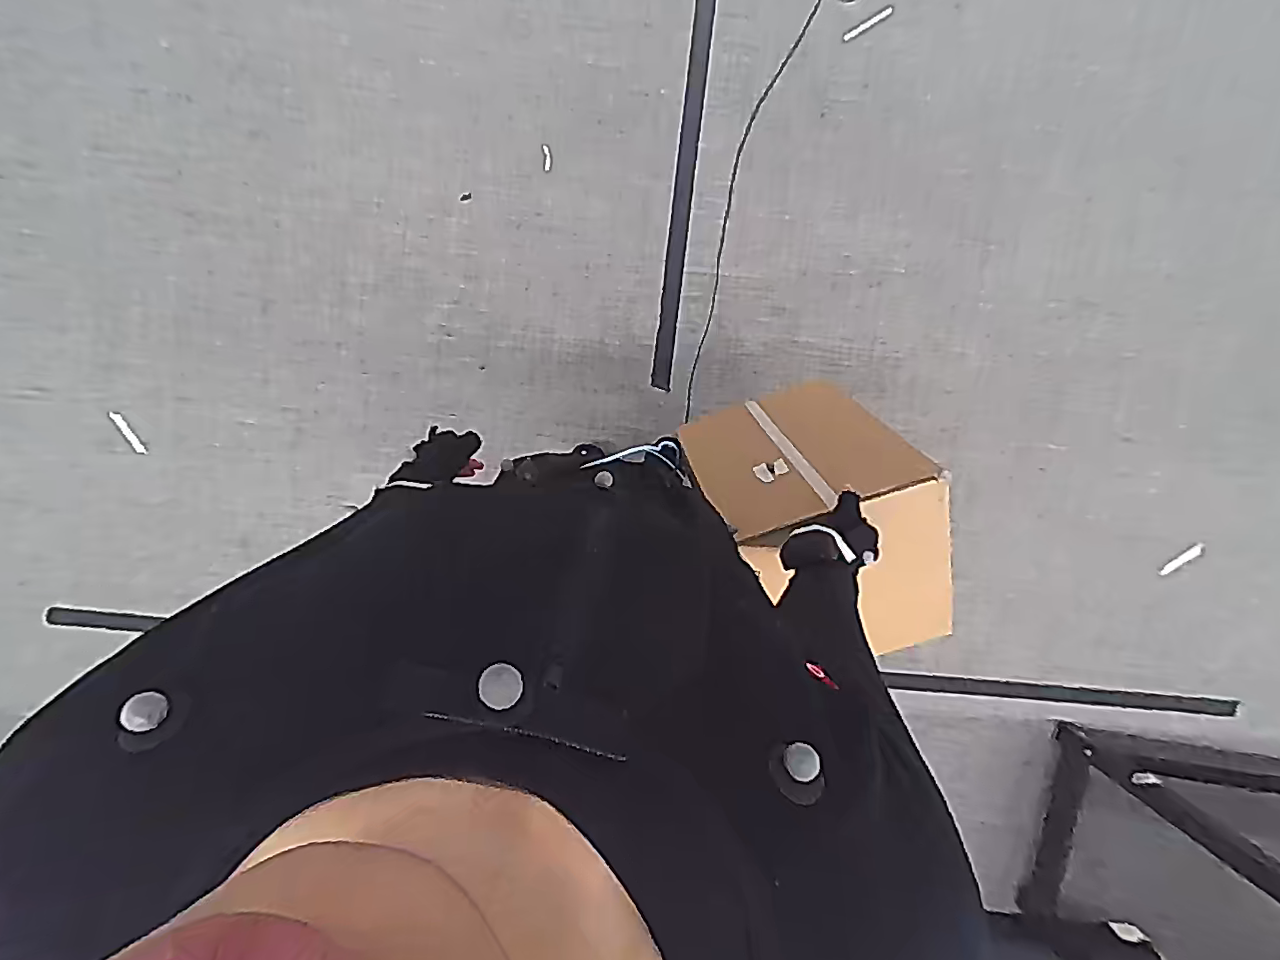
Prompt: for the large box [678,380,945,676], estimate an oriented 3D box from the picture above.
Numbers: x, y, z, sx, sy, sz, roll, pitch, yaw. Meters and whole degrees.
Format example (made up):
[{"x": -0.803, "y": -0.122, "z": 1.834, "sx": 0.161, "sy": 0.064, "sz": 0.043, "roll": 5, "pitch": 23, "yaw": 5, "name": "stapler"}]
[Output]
[{"x": 0.288, "y": 0.066, "z": 0.986, "sx": 0.320, "sy": 0.408, "sz": 0.320, "roll": -19, "pitch": 121, "yaw": 3, "name": "large box"}]
